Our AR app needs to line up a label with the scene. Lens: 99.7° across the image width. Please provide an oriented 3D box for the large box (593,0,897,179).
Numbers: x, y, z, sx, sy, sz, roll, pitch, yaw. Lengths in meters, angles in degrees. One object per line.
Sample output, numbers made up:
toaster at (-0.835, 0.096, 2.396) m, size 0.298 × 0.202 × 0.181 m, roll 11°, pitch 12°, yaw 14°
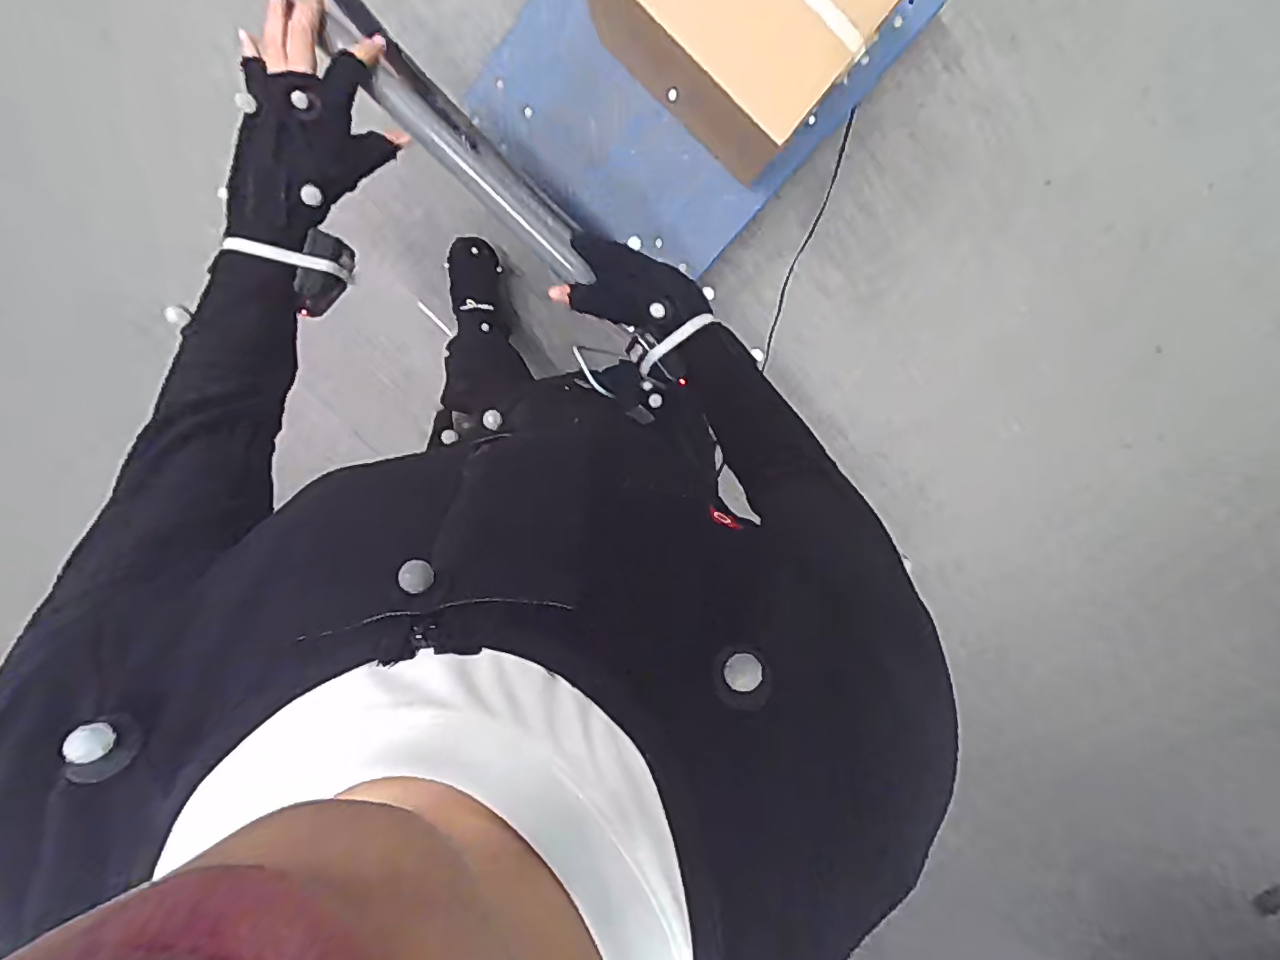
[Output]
large box at (0.165, -0.788, 0.885) m, size 0.408 × 0.320 × 0.320 m, roll 39°, pitch 104°, yaw -10°
